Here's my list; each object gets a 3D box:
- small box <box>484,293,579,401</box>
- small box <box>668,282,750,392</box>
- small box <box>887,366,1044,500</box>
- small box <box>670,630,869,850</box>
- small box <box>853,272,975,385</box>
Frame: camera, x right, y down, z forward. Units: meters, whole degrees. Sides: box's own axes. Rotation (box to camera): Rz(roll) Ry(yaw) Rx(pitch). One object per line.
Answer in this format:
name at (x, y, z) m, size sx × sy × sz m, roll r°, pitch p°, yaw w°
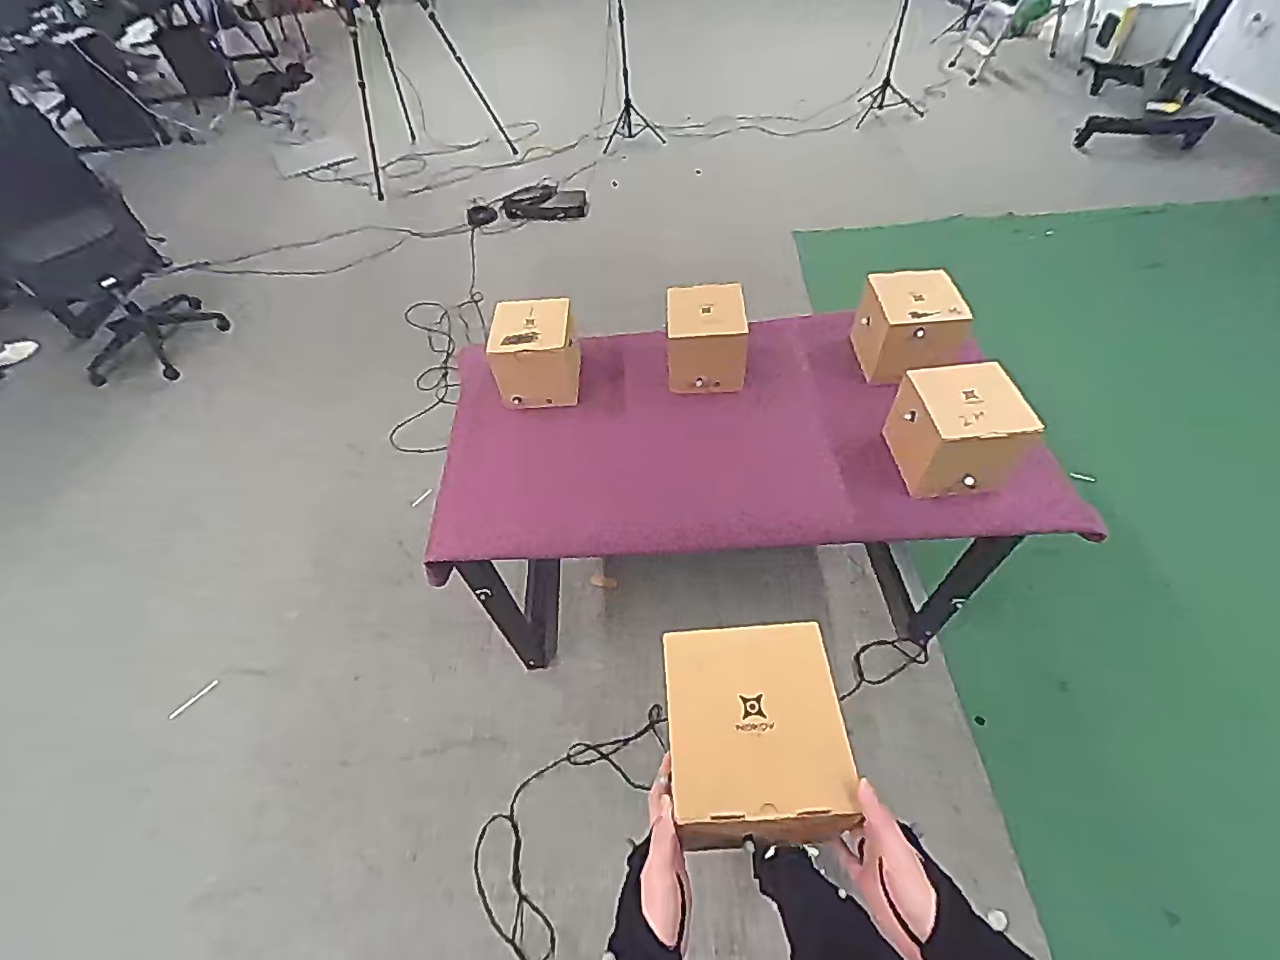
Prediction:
small box at (-0.231, -0.289, 1.202) m, size 0.168 × 0.176 × 0.179 m, roll -2°, pitch 54°, yaw 2°
small box at (0.146, -0.315, 1.201) m, size 0.168 × 0.176 × 0.179 m, roll -1°, pitch 55°, yaw 4°
small box at (0.578, -0.084, 0.994) m, size 0.168 × 0.176 × 0.179 m, roll -5°, pitch 53°, yaw 2°
small box at (0.118, 0.279, 0.577) m, size 0.168 × 0.176 × 0.179 m, roll -4°, pitch 51°, yaw 2°
small box at (0.582, -0.328, 1.178) m, size 0.168 × 0.176 × 0.179 m, roll -3°, pitch 53°, yaw 3°
